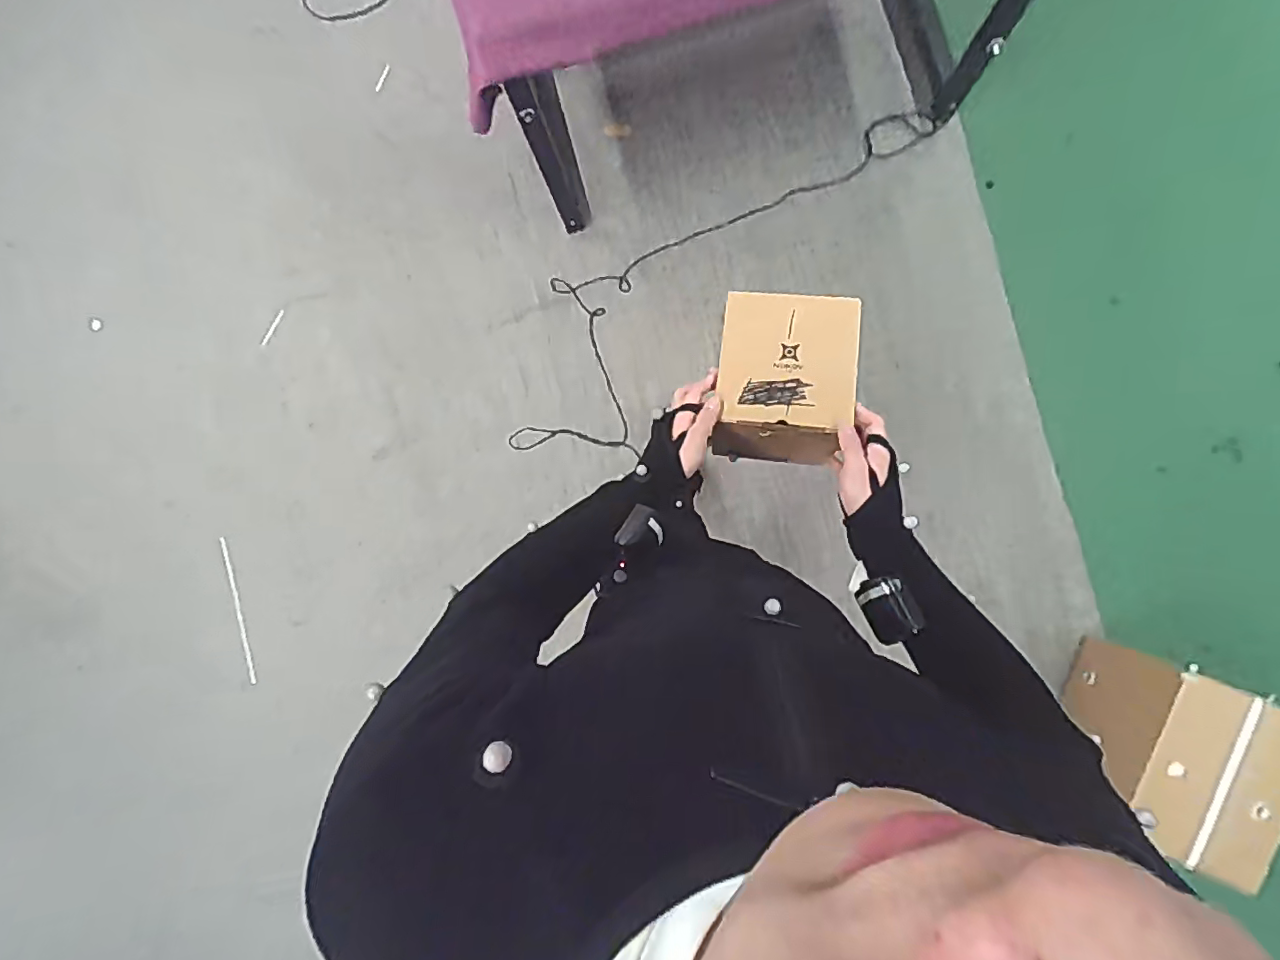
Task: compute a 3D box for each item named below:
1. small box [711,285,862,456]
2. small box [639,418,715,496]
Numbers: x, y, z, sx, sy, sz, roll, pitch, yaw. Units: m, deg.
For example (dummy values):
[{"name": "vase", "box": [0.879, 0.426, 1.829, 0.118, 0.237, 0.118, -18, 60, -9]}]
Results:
[{"name": "small box", "box": [0.190, -0.138, 0.734, 0.168, 0.176, 0.179, 6, 79, 9]}, {"name": "small box", "box": [0.111, -0.062, 1.574, 0.168, 0.176, 0.179, 21, 91, 10]}]
